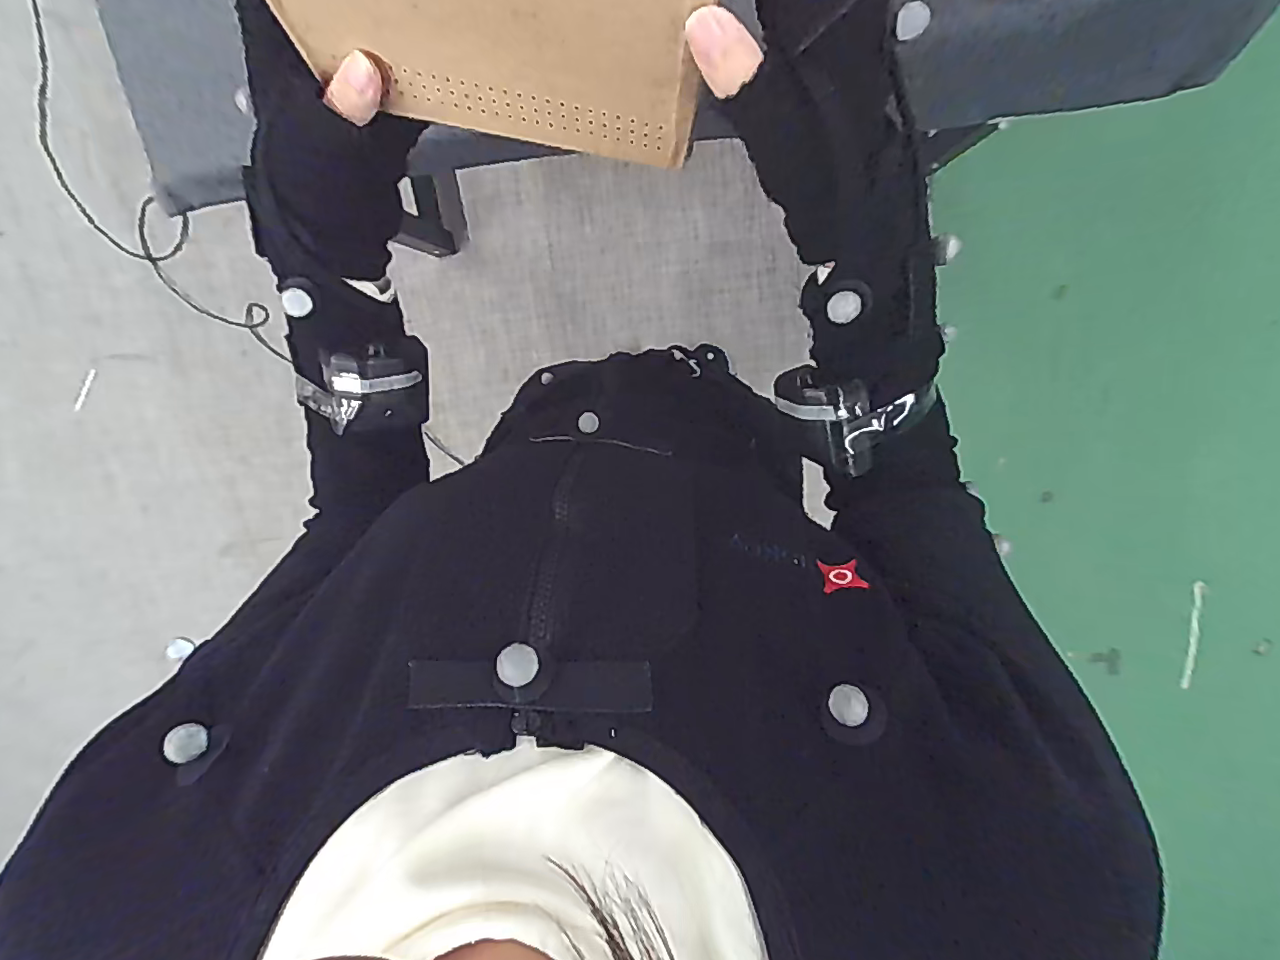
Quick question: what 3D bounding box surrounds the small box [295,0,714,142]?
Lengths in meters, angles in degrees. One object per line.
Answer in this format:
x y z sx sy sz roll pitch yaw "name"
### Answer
-0.048 -0.261 0.194 0.179 0.176 0.168 10 85 -1 "small box"
